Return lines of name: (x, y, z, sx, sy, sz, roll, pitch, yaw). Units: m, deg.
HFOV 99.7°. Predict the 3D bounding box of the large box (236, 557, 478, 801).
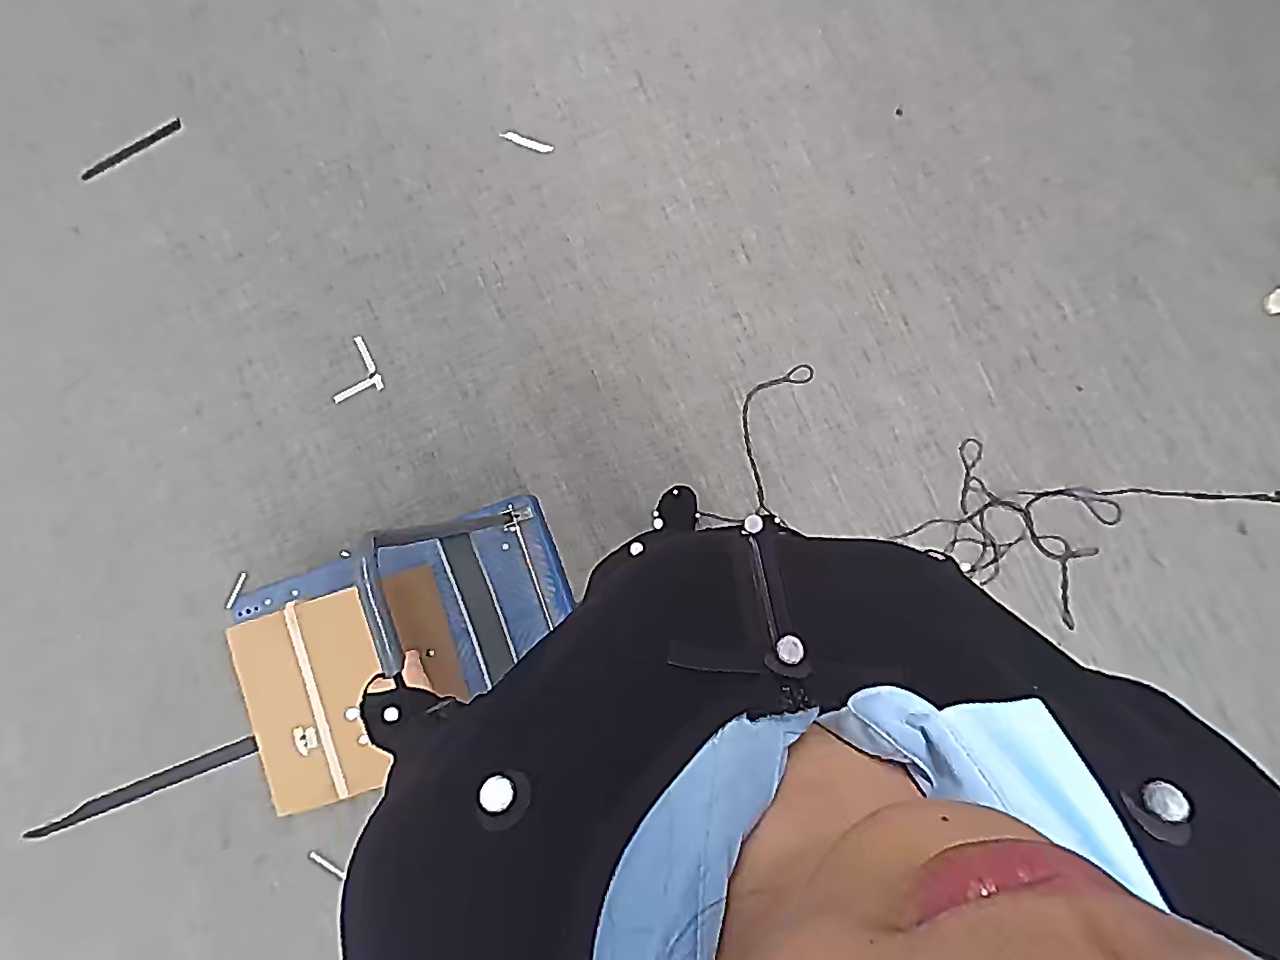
large box: (-0.628, 0.430, 1.260, 0.320, 0.320, 0.408, -18, 89, 5)
